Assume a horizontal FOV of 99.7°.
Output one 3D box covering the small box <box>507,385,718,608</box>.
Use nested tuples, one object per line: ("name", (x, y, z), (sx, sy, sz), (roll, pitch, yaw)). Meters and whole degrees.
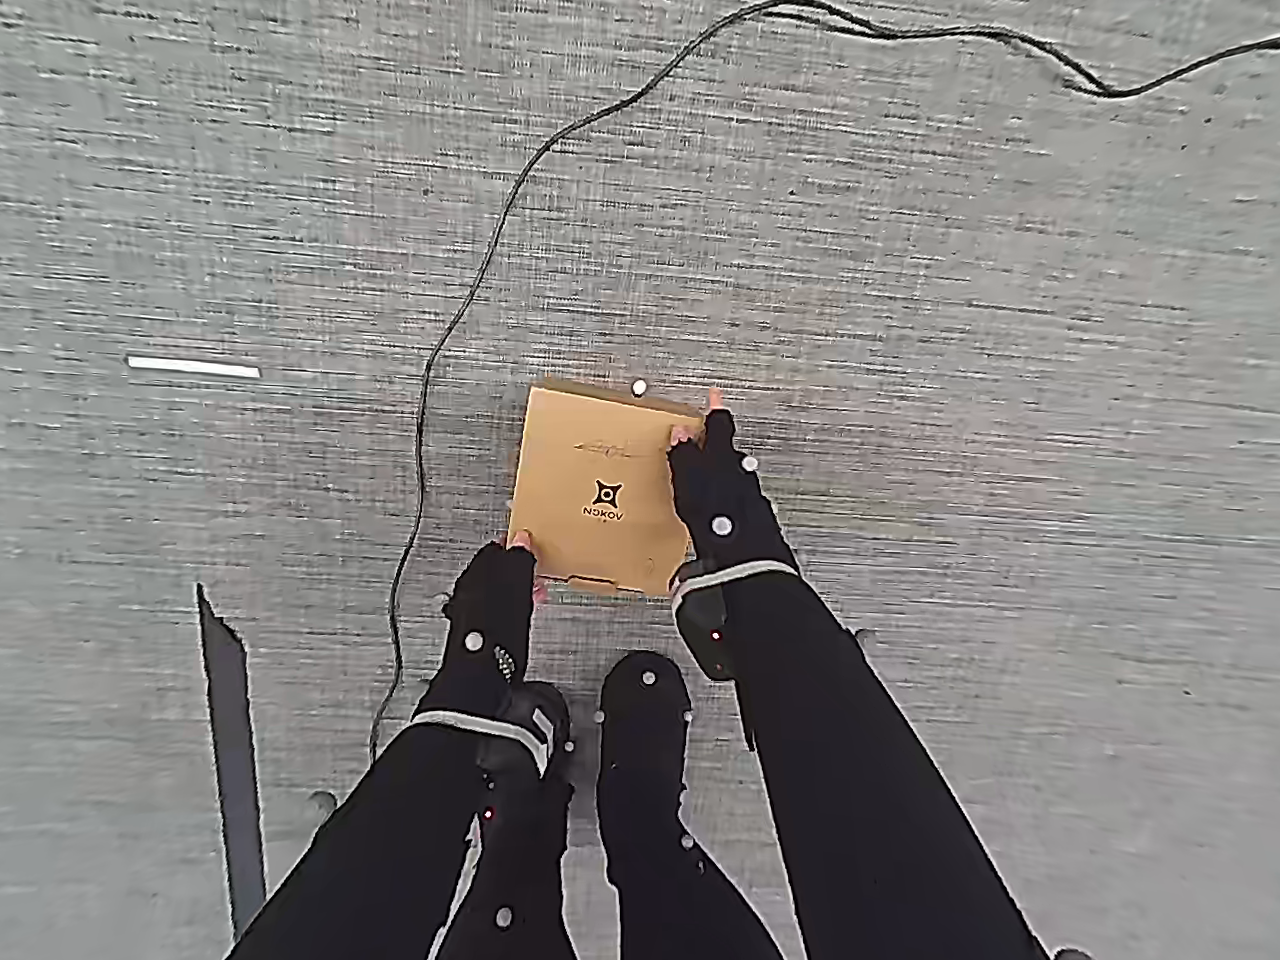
("small box", (-0.031, 0.006, 0.565), (0.168, 0.176, 0.179), (11, 103, -6))
